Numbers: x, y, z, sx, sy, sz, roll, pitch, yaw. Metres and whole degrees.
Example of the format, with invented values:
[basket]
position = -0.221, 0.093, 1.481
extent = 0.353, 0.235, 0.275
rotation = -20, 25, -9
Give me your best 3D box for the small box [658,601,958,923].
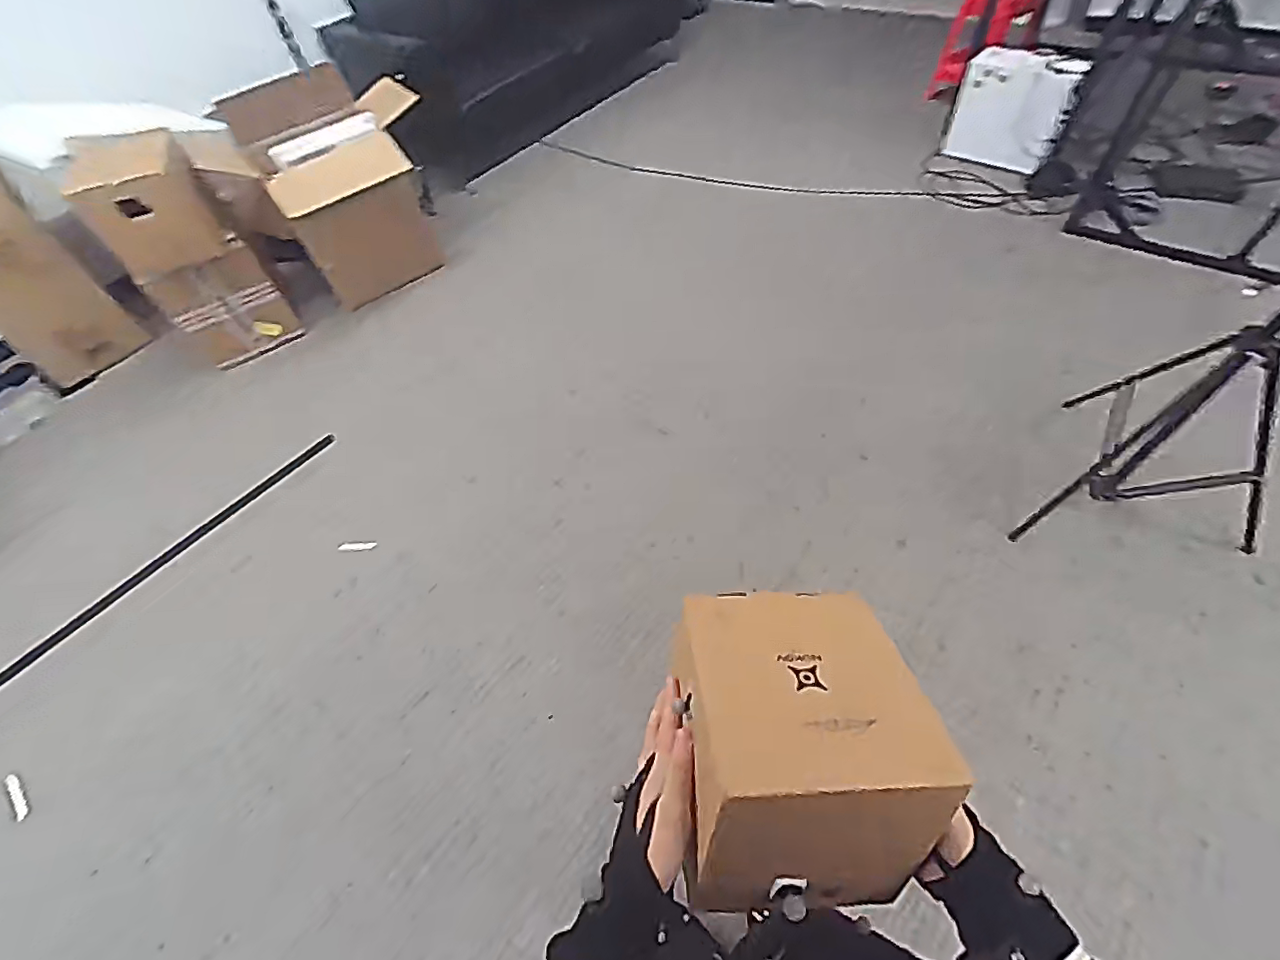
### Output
[small box]
position = 0.110, 0.222, 0.447
extent = 0.168, 0.176, 0.179
rotation = 1, 31, -6
